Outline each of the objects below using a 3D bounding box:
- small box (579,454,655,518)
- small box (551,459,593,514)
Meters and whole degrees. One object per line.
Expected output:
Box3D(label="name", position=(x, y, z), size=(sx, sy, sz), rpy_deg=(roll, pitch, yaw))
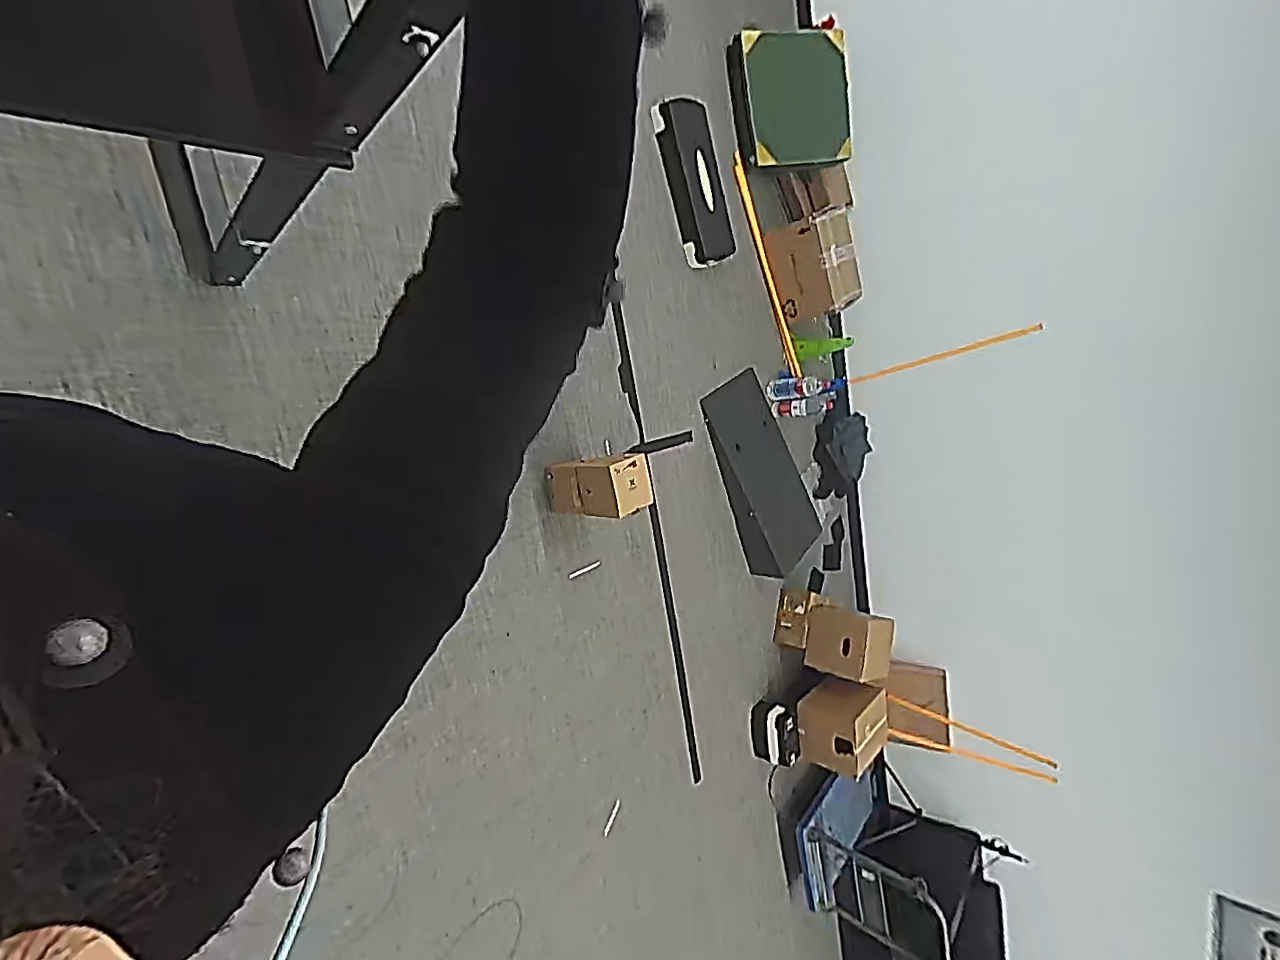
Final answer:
Box3D(label="small box", position=(-0.078, 0.014, 1.784), size=(0.168, 0.176, 0.179), rpy_deg=(-23, 108, -44))
Box3D(label="small box", position=(-0.198, 0.019, 1.897), size=(0.179, 0.176, 0.168), rpy_deg=(-17, 103, -45))
